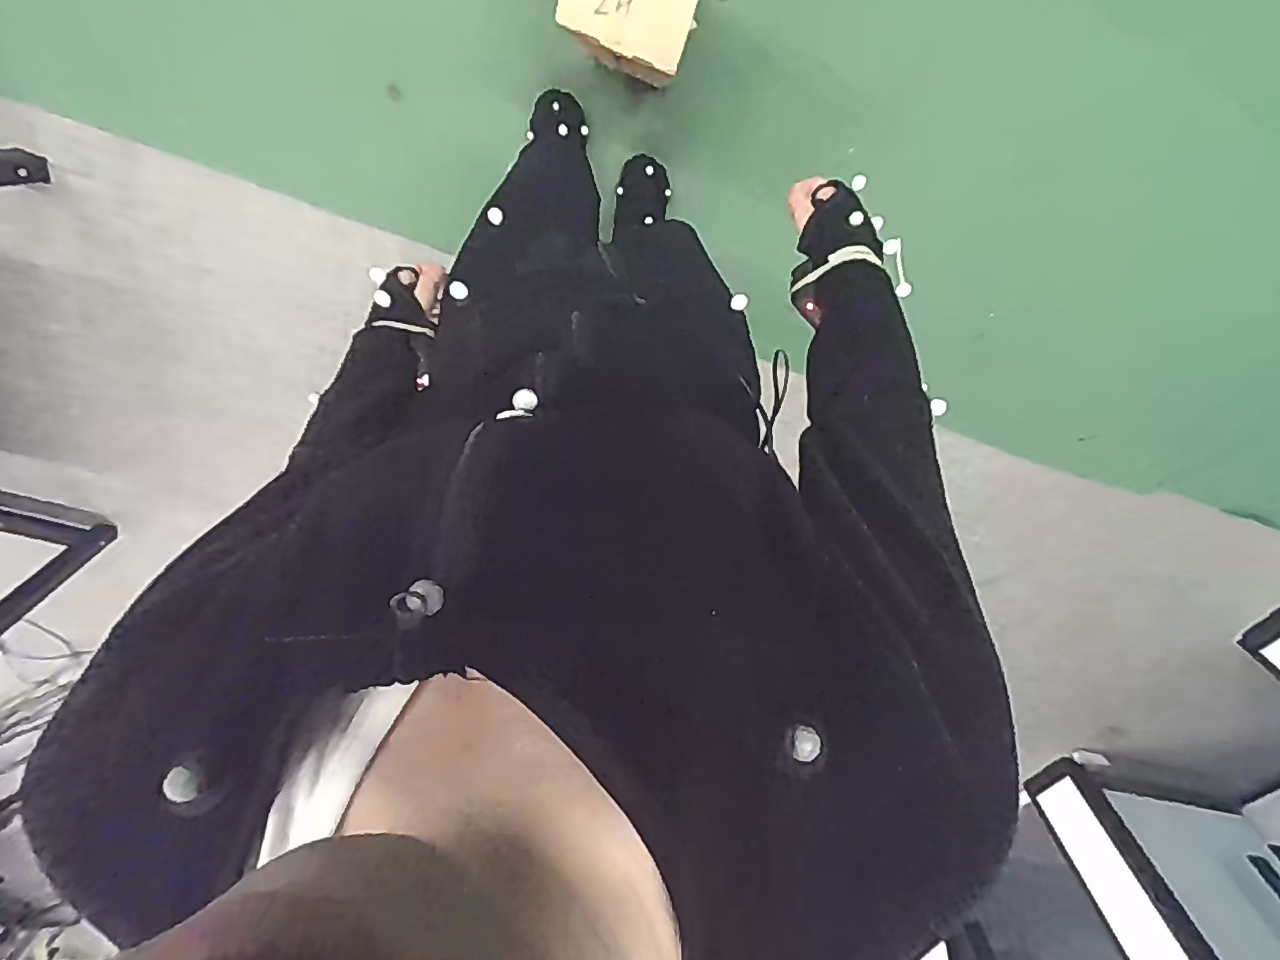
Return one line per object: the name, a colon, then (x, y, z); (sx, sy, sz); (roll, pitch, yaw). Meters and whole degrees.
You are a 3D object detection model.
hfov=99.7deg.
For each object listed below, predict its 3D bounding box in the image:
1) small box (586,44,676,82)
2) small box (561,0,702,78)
small box: (0.005, -0.764, 0.855); (0.168, 0.176, 0.179); (15, 124, -10)
small box: (0.002, -0.670, 0.720); (0.168, 0.176, 0.179); (16, 124, -10)
